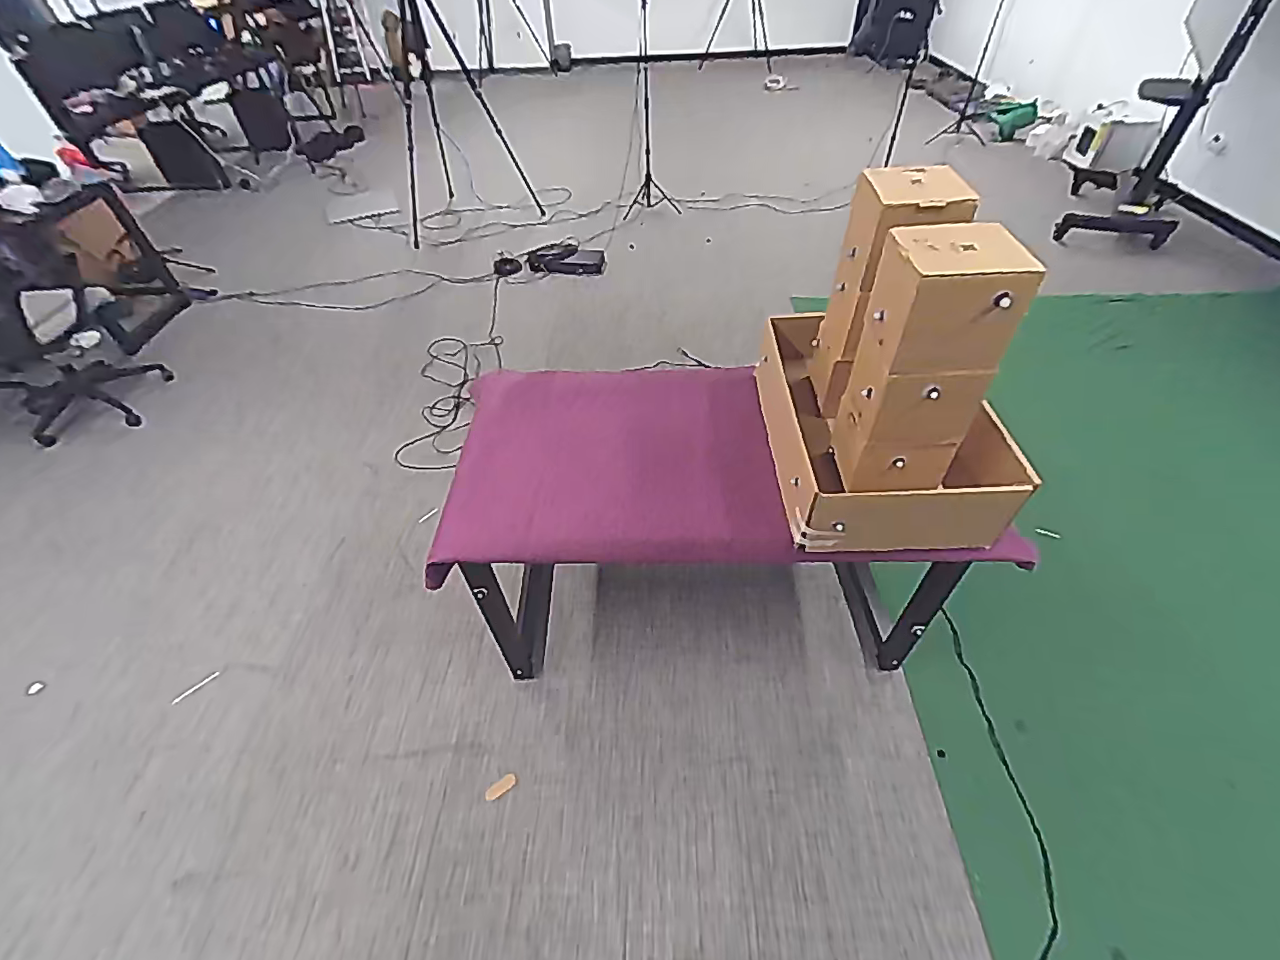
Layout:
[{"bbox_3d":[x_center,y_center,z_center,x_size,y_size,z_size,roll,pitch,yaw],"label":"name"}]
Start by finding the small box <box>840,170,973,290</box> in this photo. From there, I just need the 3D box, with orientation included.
[{"bbox_3d":[0.505,-0.480,1.055,0.168,0.176,0.179,0,49,3],"label":"small box"}]

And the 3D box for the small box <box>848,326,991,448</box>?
[{"bbox_3d":[0.494,-0.172,0.993,0.179,0.176,0.168,0,47,4],"label":"small box"}]

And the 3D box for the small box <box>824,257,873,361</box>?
[{"bbox_3d":[0.511,-0.369,1.175,0.168,0.176,0.179,0,48,3],"label":"small box"}]

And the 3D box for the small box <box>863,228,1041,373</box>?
[{"bbox_3d":[0.486,-0.287,0.875,0.179,0.176,0.168,-1,47,4],"label":"small box"}]
